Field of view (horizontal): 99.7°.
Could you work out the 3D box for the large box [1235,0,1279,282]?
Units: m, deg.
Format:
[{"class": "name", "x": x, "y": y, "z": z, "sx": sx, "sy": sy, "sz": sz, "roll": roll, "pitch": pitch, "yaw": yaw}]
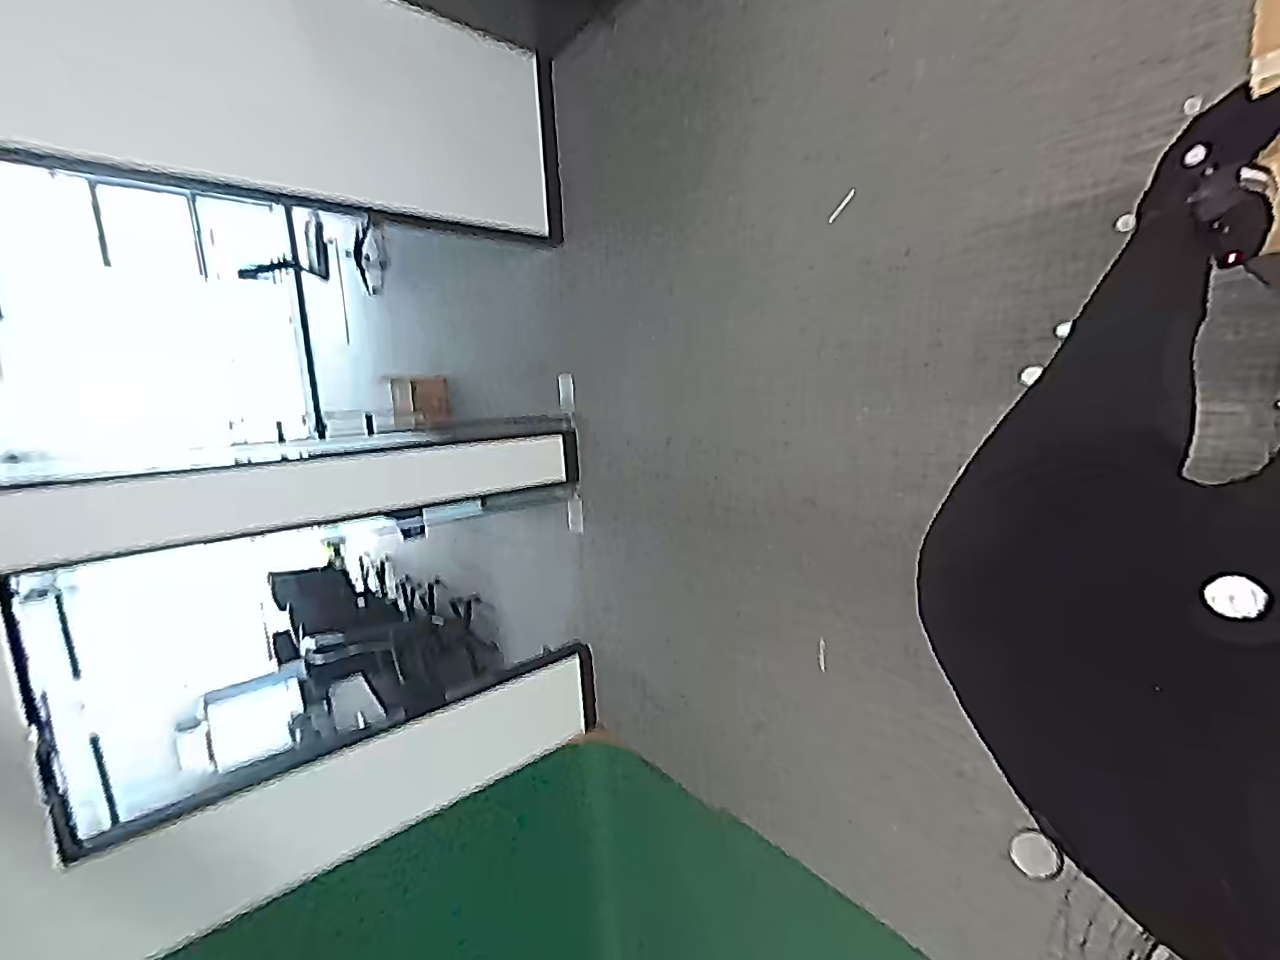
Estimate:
[{"class": "large box", "x": 0.768, "y": -0.351, "z": 0.393, "sx": 0.408, "sy": 0.320, "sz": 0.320, "roll": 7, "pitch": 100, "yaw": 55}]
